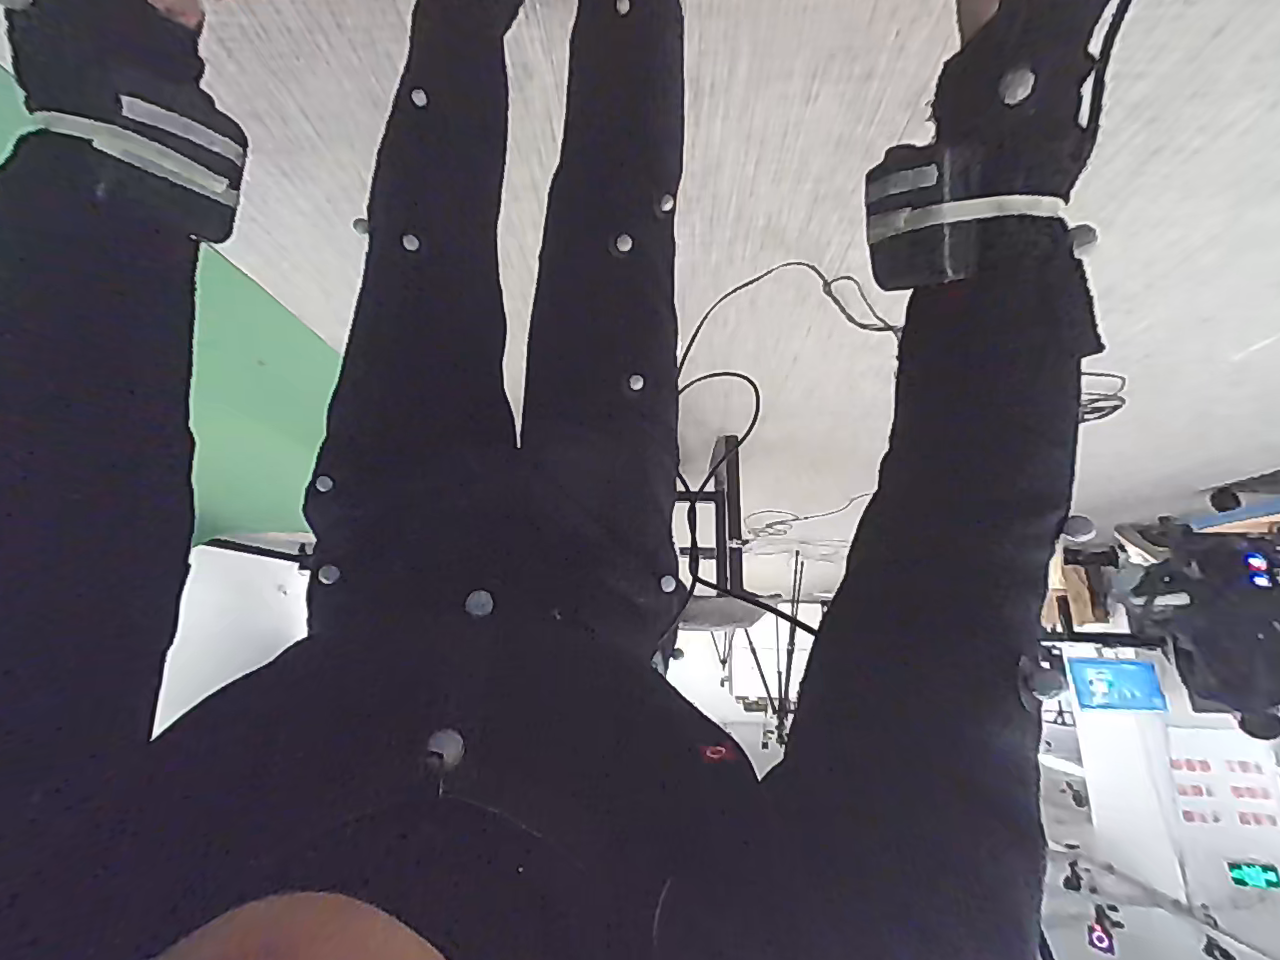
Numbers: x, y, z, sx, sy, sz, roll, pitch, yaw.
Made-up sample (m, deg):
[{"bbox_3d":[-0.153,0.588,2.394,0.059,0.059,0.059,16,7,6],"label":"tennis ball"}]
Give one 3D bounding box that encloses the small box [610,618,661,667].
[{"bbox_3d":[-0.014,0.622,2.077,0.168,0.176,0.179,-2,164,12],"label":"small box"}]
